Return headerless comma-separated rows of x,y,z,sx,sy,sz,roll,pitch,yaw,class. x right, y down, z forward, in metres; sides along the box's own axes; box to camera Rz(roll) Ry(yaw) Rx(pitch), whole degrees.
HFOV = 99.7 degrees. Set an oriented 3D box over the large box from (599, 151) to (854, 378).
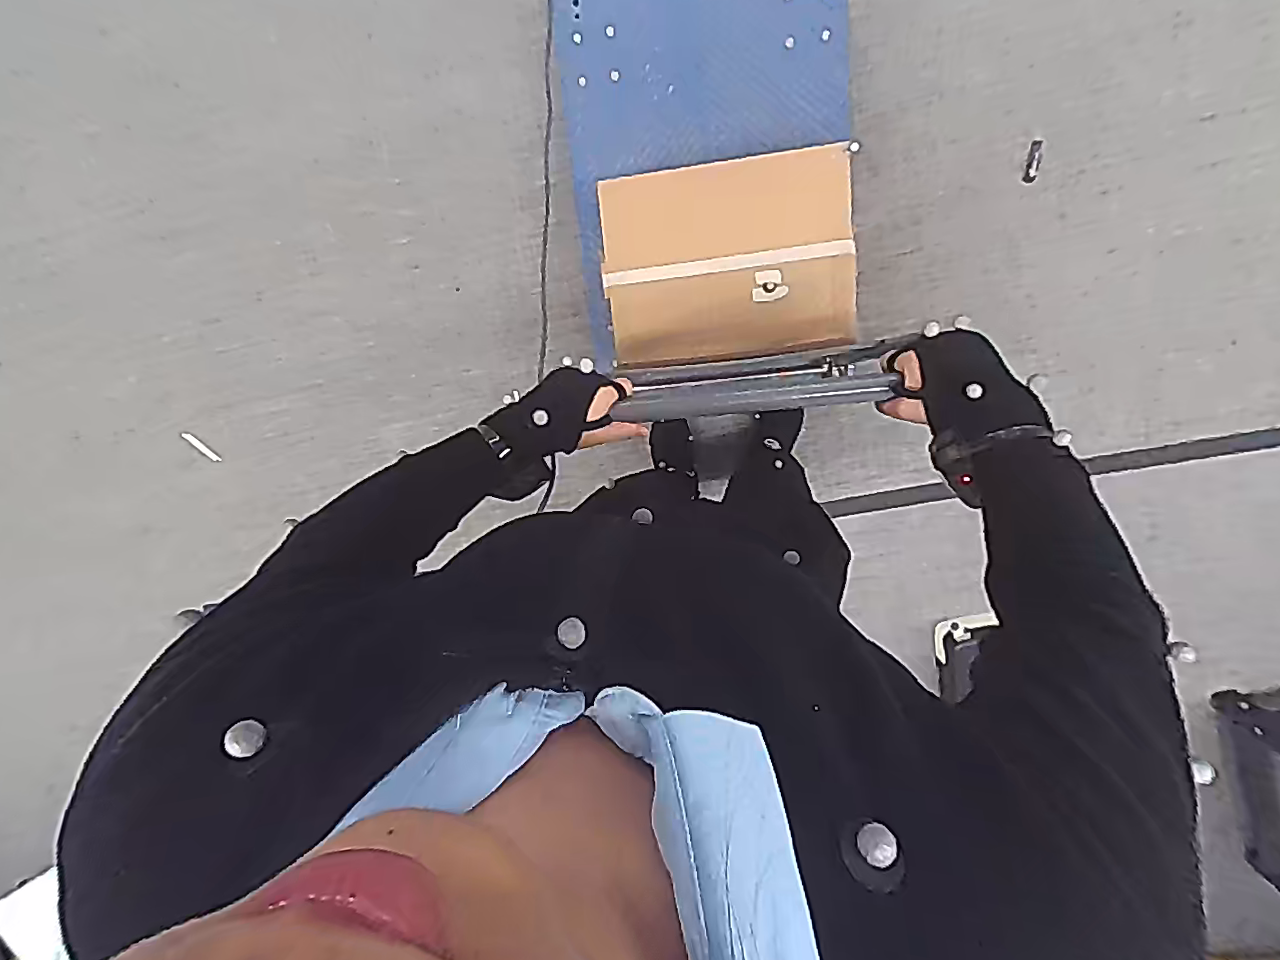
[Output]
0.158,-0.376,1.043,0.408,0.320,0.320,-5,102,7,large box
